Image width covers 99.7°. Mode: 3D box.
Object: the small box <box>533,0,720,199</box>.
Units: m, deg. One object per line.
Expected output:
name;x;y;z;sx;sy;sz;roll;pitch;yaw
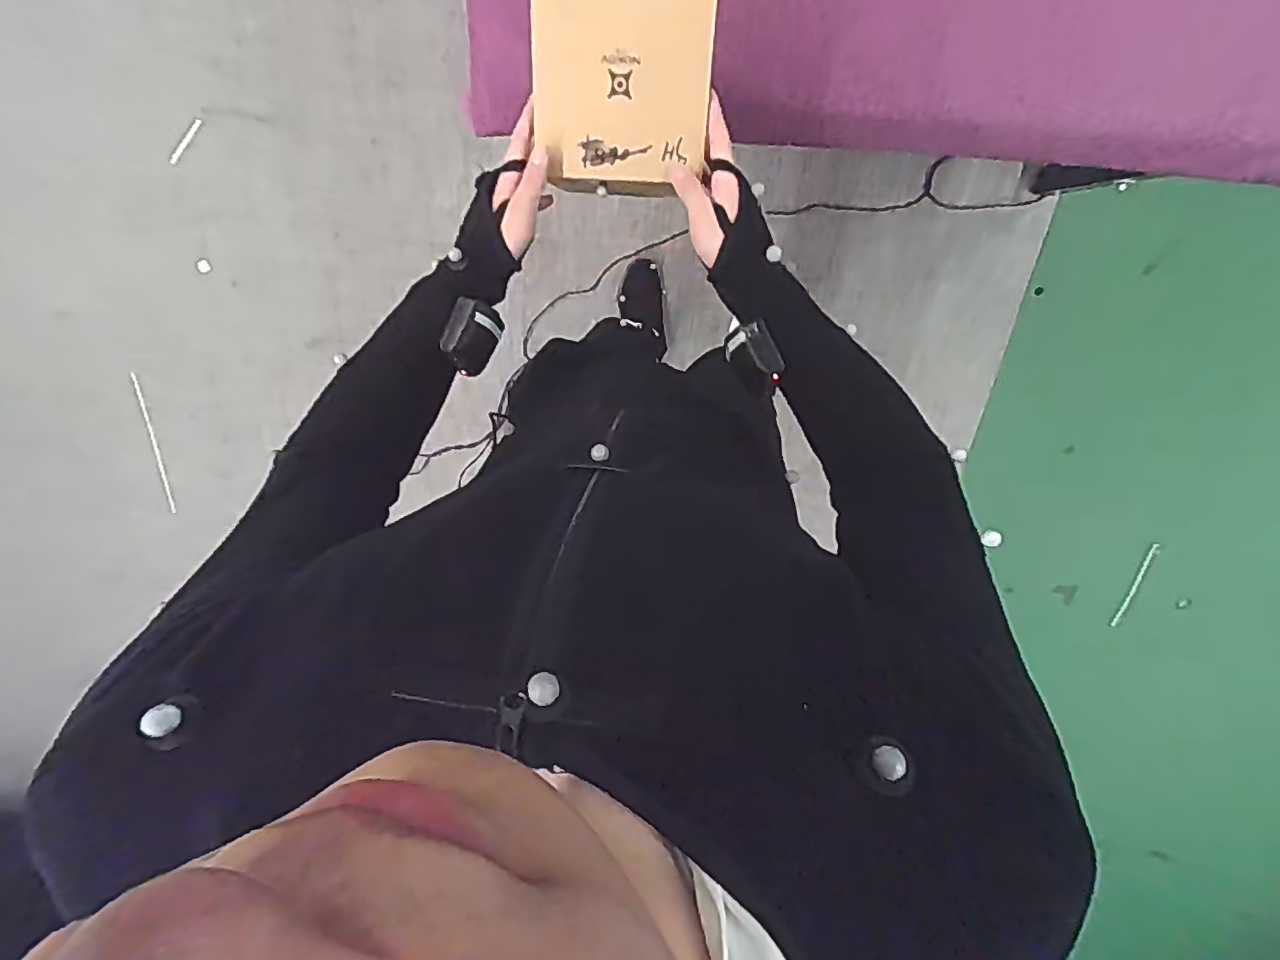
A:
small box;-0.014;-0.402;0.562;0.168;0.176;0.179;3;113;0
